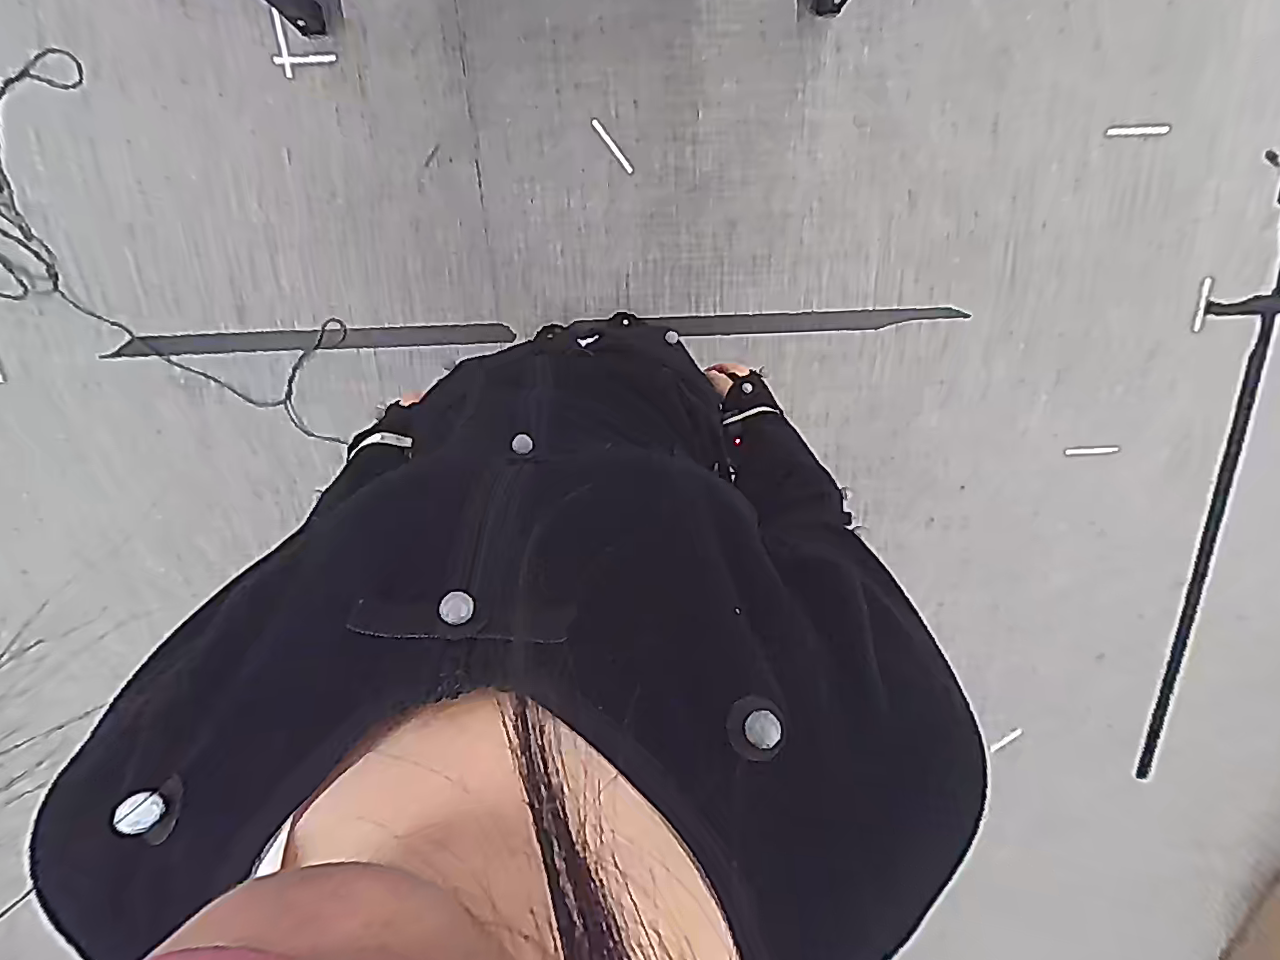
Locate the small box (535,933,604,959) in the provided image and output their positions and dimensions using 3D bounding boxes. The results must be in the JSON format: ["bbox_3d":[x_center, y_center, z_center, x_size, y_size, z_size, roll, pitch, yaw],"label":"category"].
[{"bbox_3d":[-0.172,1.261,1.322,0.168,0.176,0.179,-4,105,-1],"label":"small box"}]

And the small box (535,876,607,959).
[{"bbox_3d":[-0.182,1.223,1.479,0.179,0.176,0.168,-4,106,0],"label":"small box"}]
